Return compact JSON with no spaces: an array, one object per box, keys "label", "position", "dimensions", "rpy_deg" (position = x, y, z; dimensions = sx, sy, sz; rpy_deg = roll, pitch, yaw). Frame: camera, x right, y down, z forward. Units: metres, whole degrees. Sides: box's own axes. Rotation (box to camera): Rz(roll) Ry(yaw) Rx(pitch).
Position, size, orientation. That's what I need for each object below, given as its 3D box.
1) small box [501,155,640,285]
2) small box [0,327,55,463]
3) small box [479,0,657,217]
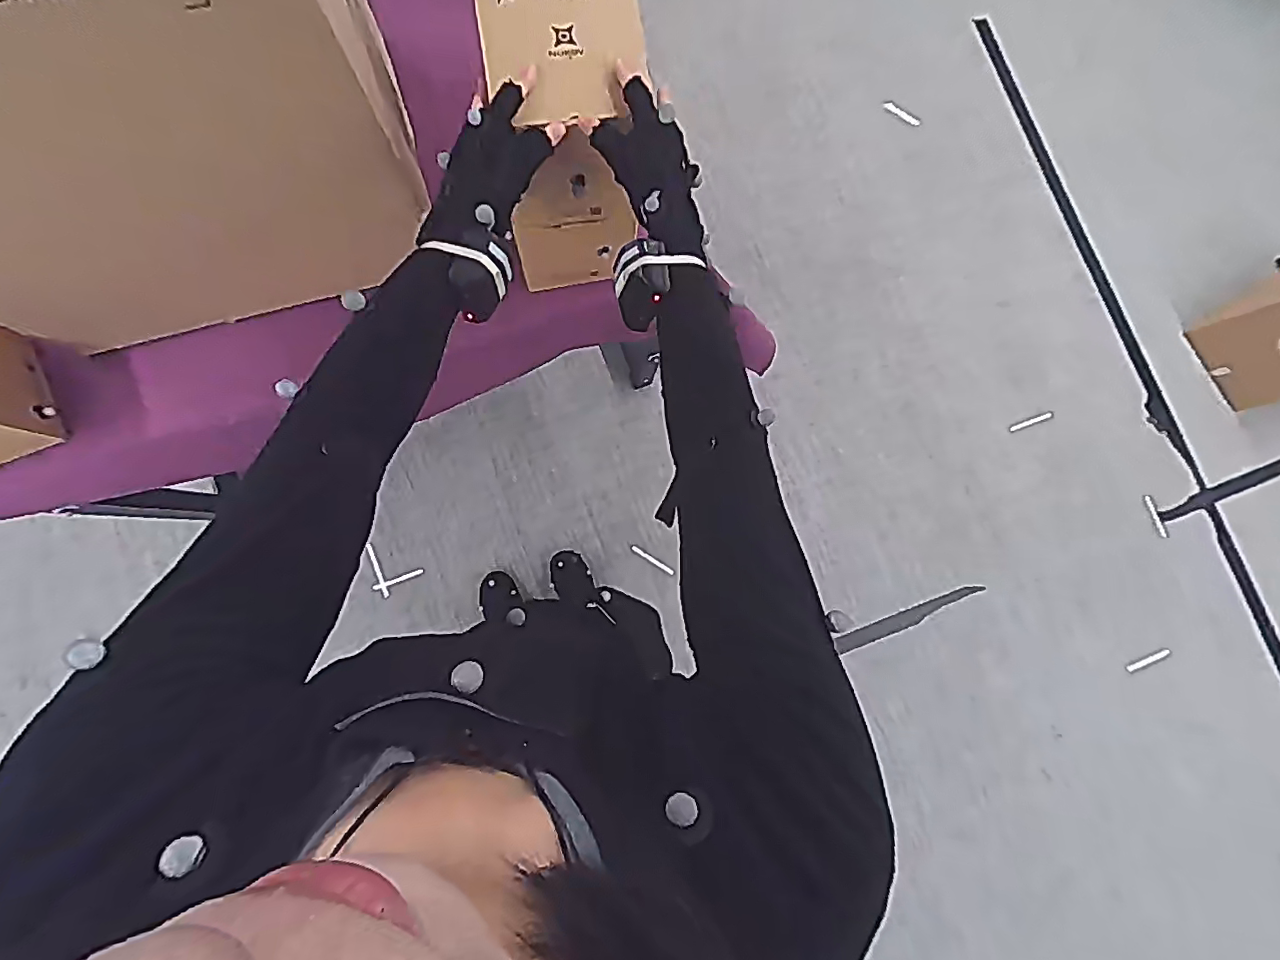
[{"label":"small box","position":[-0.102,-0.401,0.780],"dimensions":[0.168,0.176,0.179],"rpy_deg":[-12,83,-7]},{"label":"small box","position":[-0.891,-0.109,0.663],"dimensions":[0.179,0.176,0.168],"rpy_deg":[-24,85,-9]},{"label":"small box","position":[-0.079,-0.425,0.620],"dimensions":[0.168,0.176,0.179],"rpy_deg":[-8,84,-6]}]
